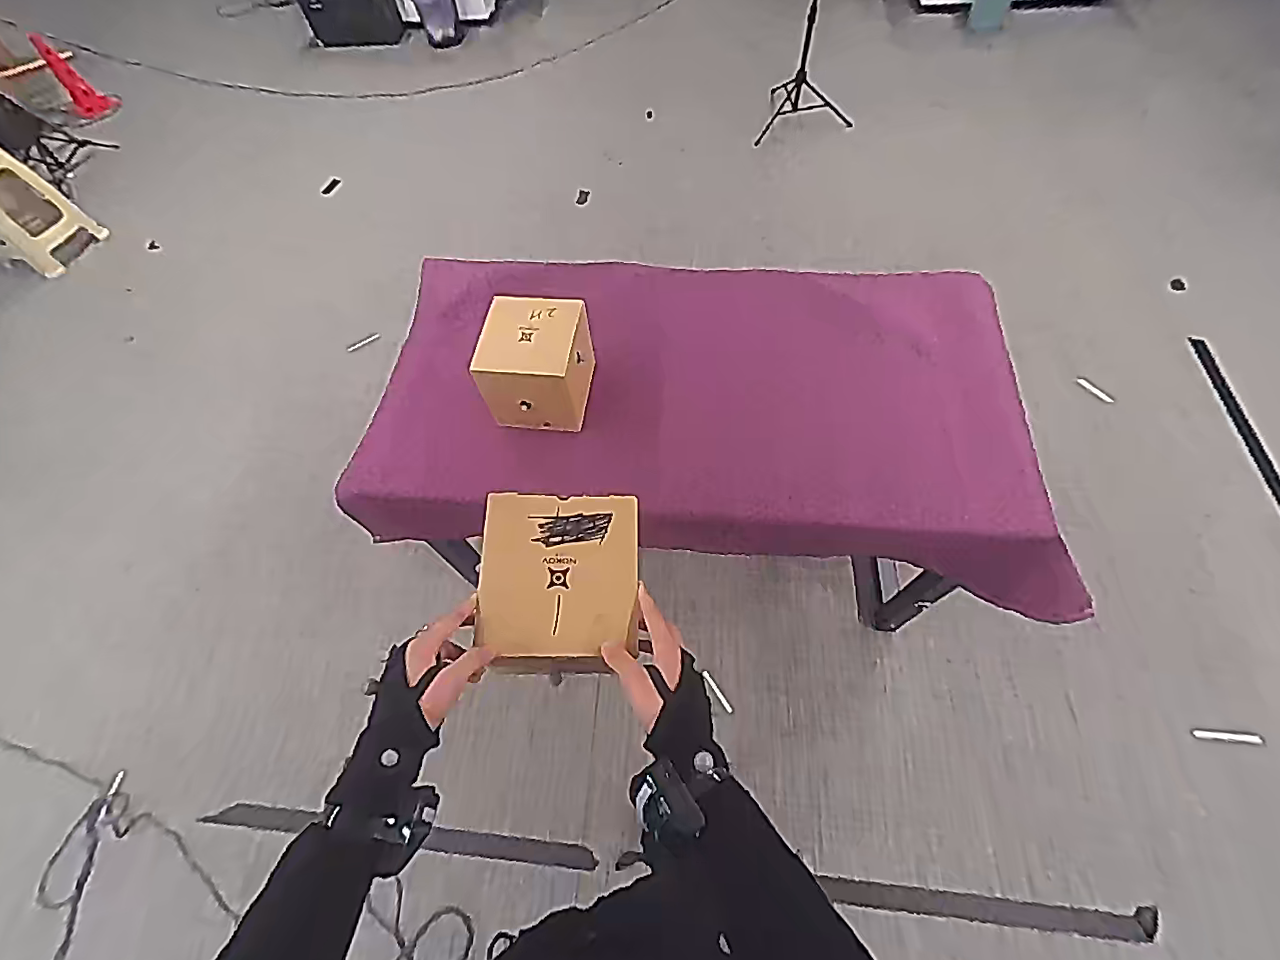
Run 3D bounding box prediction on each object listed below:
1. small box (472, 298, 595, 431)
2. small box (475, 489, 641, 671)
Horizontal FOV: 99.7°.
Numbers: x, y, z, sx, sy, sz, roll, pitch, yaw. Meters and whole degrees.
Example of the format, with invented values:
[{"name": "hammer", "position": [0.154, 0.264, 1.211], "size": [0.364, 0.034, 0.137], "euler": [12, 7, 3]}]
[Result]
[{"name": "small box", "position": [-0.184, -0.208, 0.998], "size": [0.168, 0.176, 0.179], "euler": [6, 62, 6]}, {"name": "small box", "position": [-0.088, 0.125, 0.640], "size": [0.168, 0.176, 0.179], "euler": [1, 65, -4]}]
